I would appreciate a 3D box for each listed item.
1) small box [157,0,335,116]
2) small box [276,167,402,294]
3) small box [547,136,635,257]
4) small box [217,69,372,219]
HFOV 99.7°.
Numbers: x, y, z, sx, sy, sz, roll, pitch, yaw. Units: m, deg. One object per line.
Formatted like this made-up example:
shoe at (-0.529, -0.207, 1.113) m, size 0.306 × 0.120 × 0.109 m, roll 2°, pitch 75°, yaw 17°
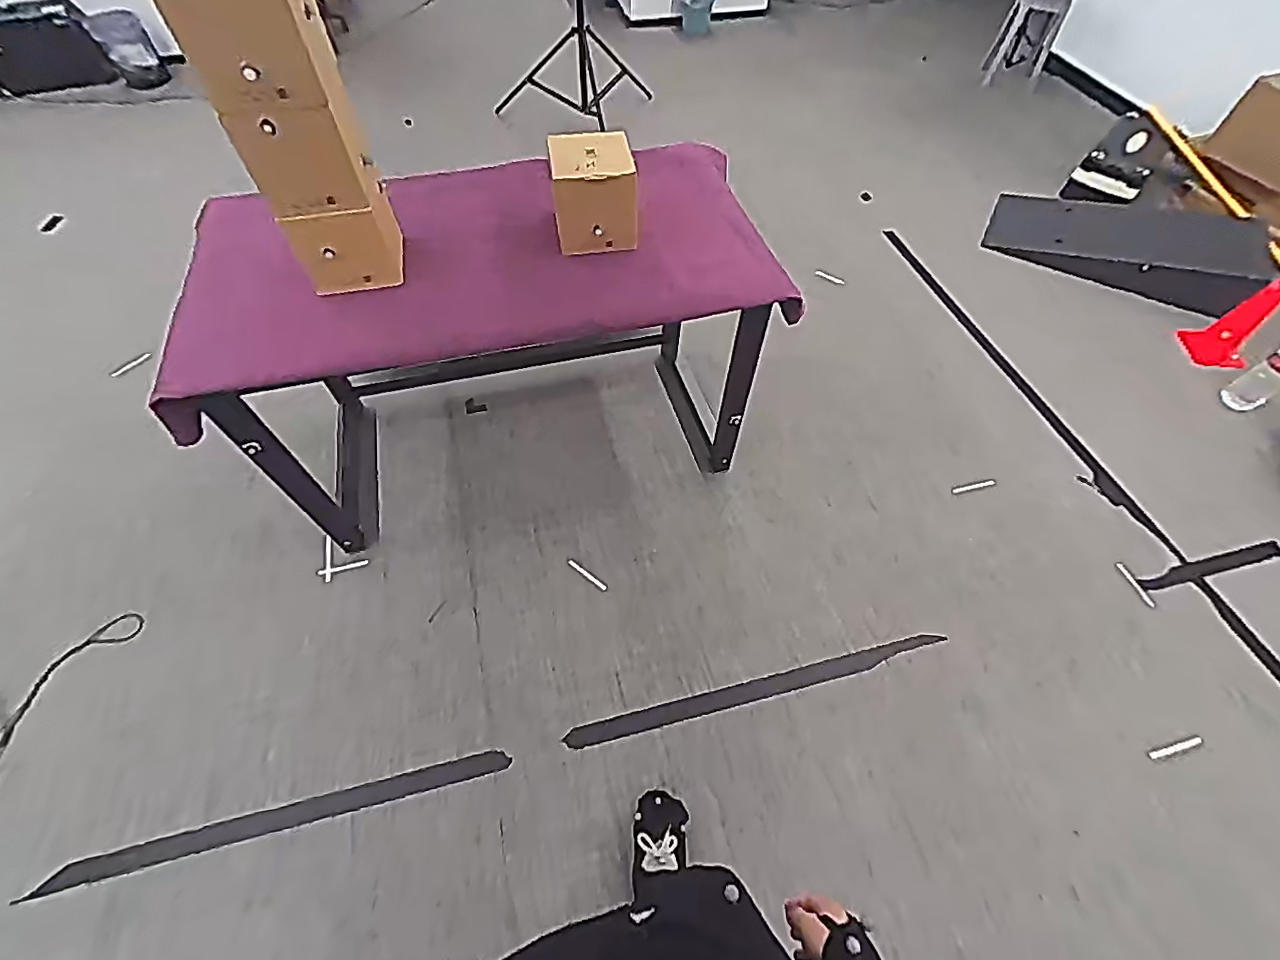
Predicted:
small box at (-0.578, -0.675, 0.806) m, size 0.168 × 0.176 × 0.179 m, roll -11°, pitch 58°, yaw -9°
small box at (-0.587, -0.491, 1.078) m, size 0.168 × 0.176 × 0.179 m, roll -11°, pitch 58°, yaw -9°
small box at (-0.105, -0.608, 1.164) m, size 0.168 × 0.176 × 0.179 m, roll -8°, pitch 57°, yaw -5°
small box at (-0.586, -0.585, 0.944) m, size 0.168 × 0.176 × 0.179 m, roll -12°, pitch 57°, yaw -9°
